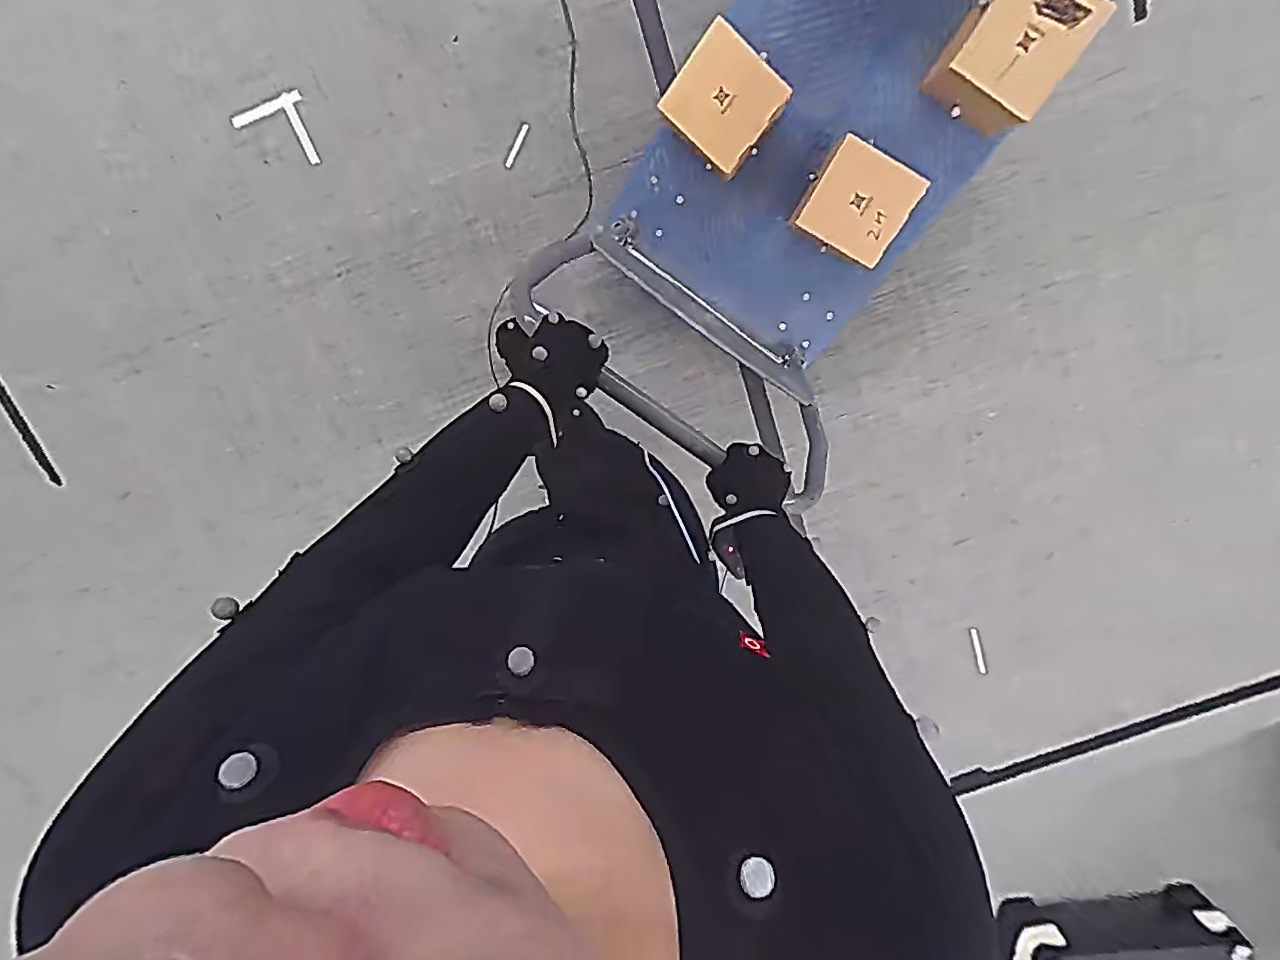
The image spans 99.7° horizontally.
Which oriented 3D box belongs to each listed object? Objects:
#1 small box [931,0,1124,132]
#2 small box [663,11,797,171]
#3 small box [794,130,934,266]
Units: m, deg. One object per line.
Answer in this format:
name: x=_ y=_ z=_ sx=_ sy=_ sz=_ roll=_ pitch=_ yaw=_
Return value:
small box: x=0.639 y=-0.733 z=0.921 sx=0.168 sy=0.176 sz=0.179 roll=32 pitch=117 yaw=-6
small box: x=0.165 y=-0.709 z=1.015 sx=0.179 sy=0.176 sz=0.168 roll=39 pitch=115 yaw=-11
small box: x=0.419 y=-0.538 z=1.052 sx=0.179 sy=0.176 sz=0.168 roll=29 pitch=117 yaw=-5
